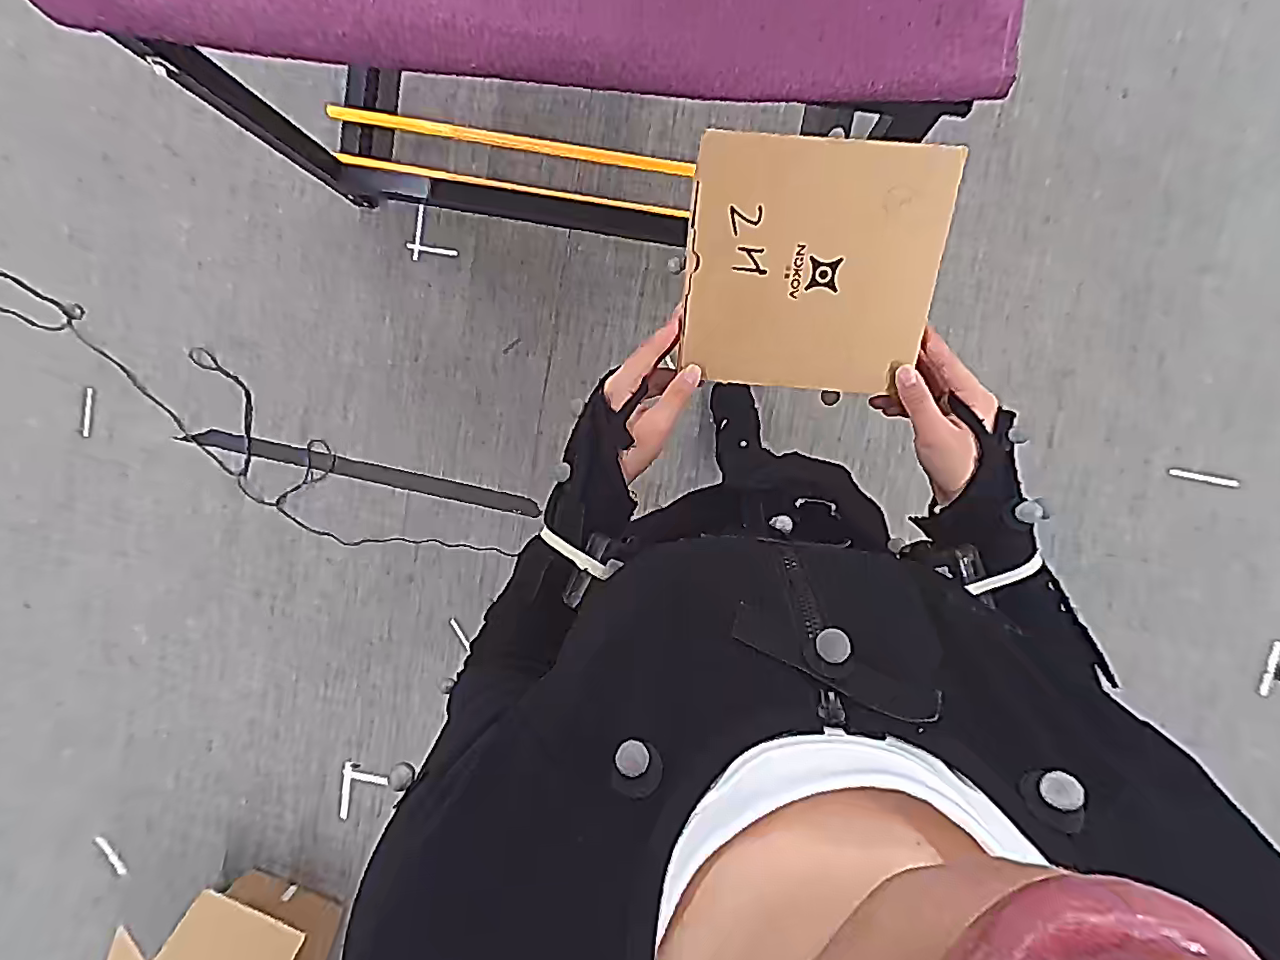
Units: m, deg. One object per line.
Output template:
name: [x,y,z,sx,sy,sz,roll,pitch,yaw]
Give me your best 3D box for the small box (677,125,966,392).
small box: [0.127,-0.178,0.458,0.179,0.176,0.168,6,110,2]
